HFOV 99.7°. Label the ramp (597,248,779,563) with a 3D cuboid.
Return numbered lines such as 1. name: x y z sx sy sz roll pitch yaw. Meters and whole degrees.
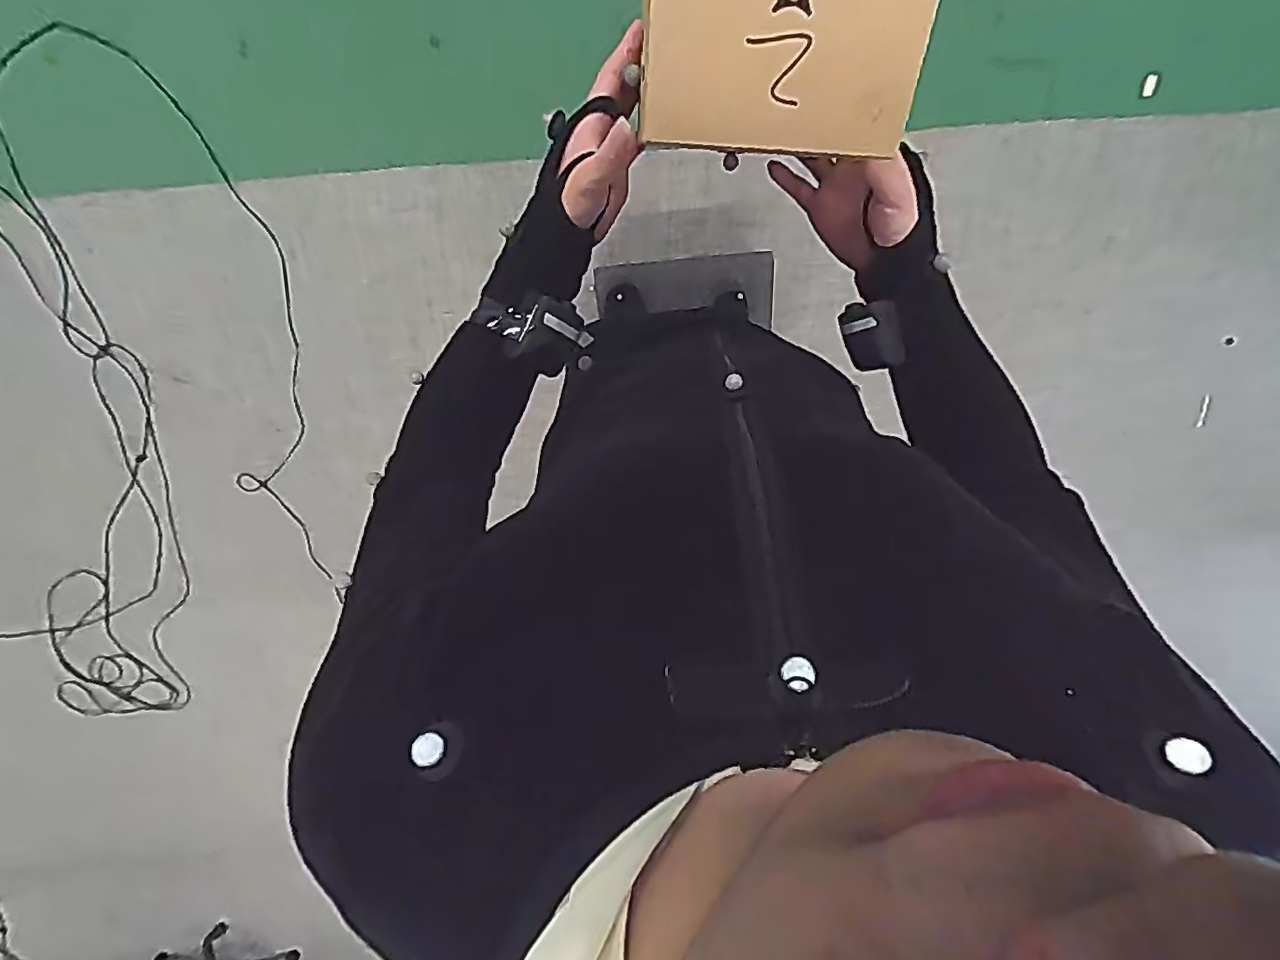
1. ramp: 0.171 -0.162 1.673 0.509 0.206 0.991 -7 110 0
